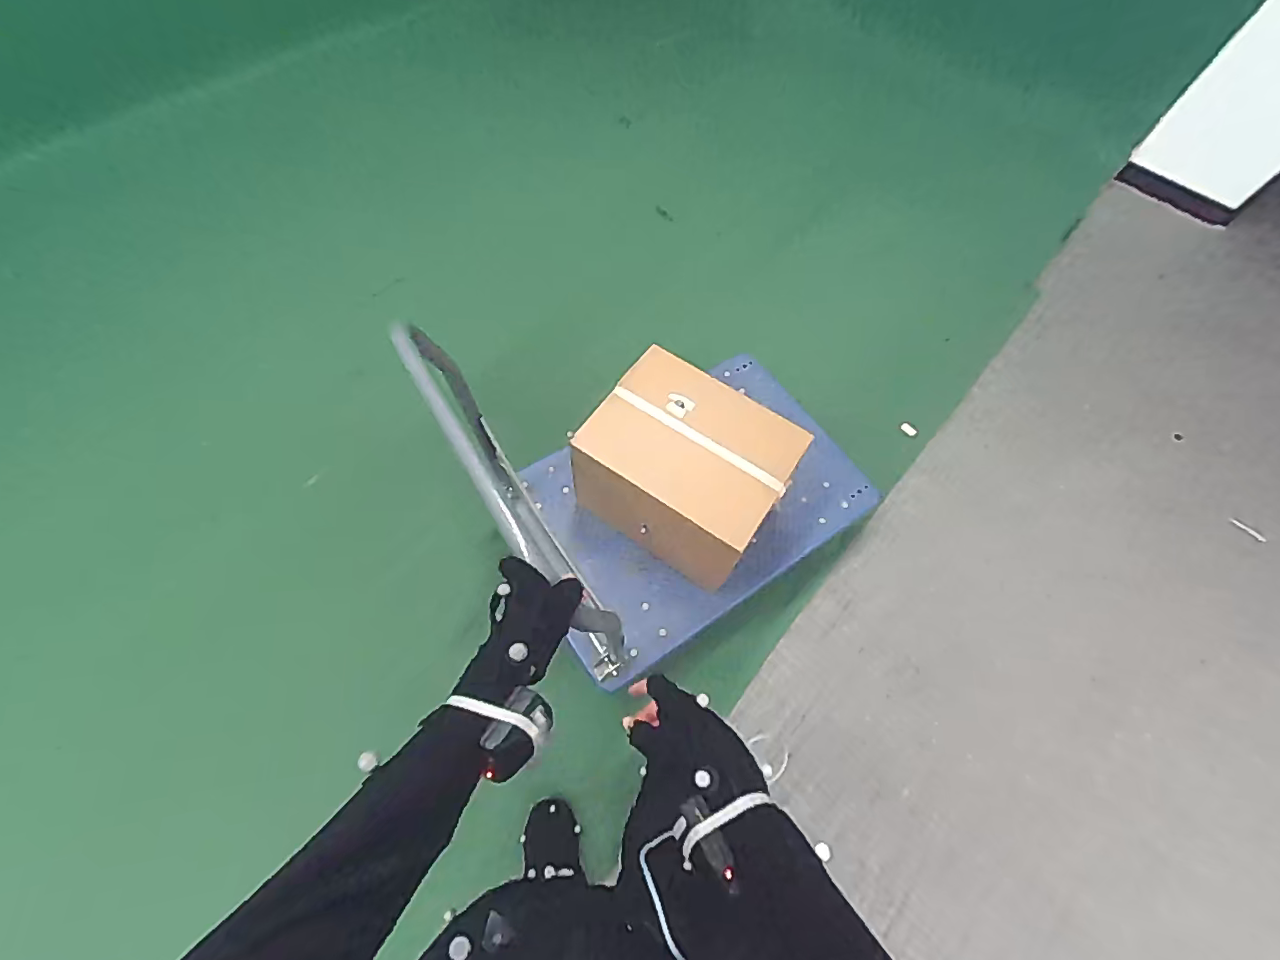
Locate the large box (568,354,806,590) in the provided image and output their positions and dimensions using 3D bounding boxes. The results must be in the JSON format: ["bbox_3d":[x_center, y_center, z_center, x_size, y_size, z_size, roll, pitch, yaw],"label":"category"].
[{"bbox_3d":[0.098,-0.007,1.244,0.408,0.320,0.320,32,66,13],"label":"large box"}]
